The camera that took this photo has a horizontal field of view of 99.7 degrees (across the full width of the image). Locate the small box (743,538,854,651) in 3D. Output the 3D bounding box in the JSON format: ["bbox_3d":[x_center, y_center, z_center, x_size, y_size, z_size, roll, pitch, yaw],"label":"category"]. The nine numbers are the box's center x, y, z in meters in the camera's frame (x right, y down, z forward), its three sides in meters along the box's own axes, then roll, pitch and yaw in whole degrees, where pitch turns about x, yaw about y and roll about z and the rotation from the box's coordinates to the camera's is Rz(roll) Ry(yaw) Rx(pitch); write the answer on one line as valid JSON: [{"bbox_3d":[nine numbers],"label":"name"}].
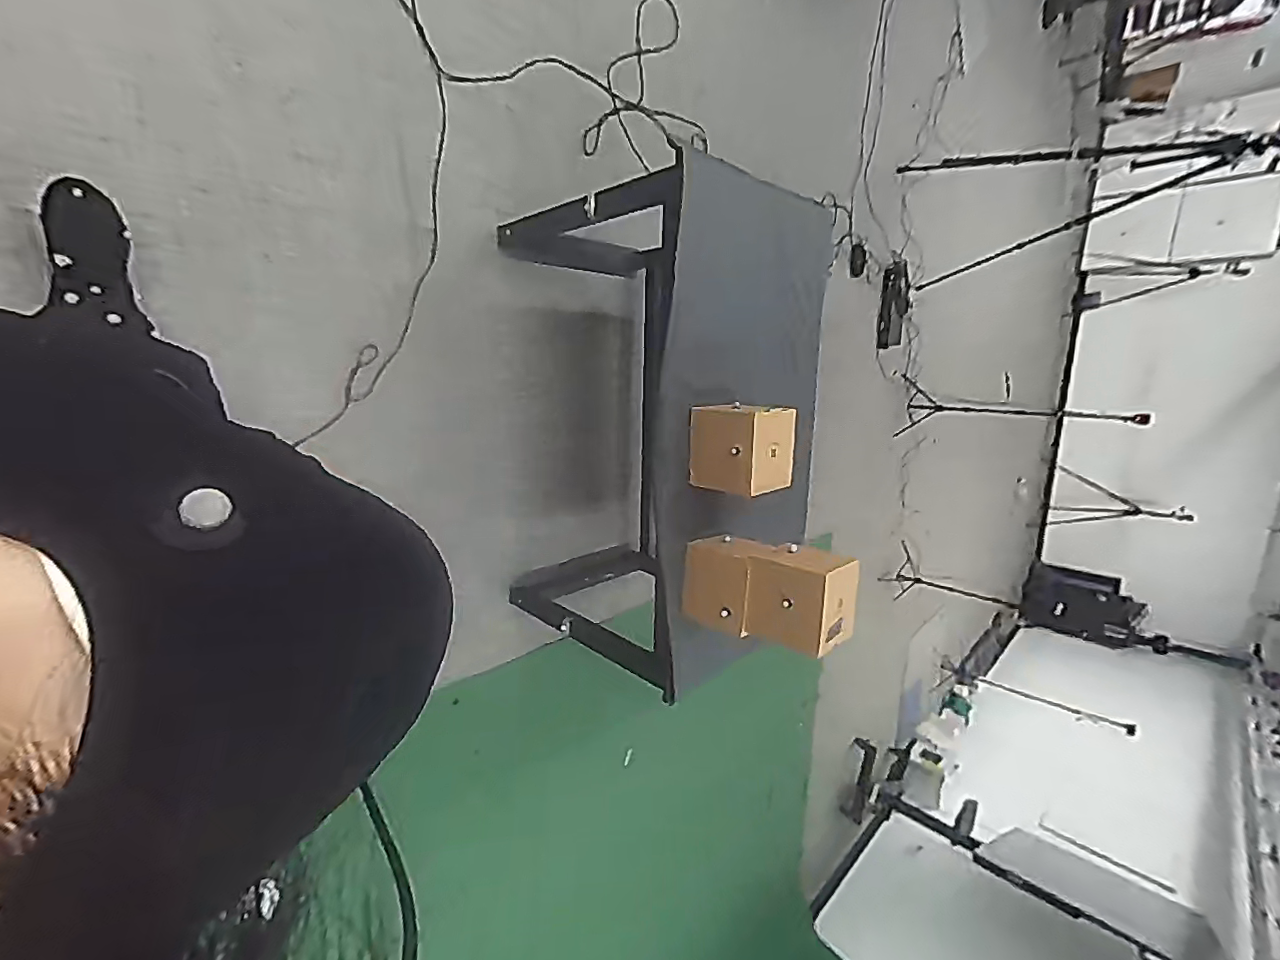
[{"bbox_3d":[0.334,0.233,1.149,0.168,0.176,0.179,-7,102,-47],"label":"small box"}]

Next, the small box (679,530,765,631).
[{"bbox_3d":[0.206,0.225,1.254,0.168,0.176,0.179,-5,101,-47],"label":"small box"}]

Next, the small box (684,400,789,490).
[{"bbox_3d":[0.212,-0.086,1.199,0.168,0.176,0.179,-12,108,-44],"label":"small box"}]
